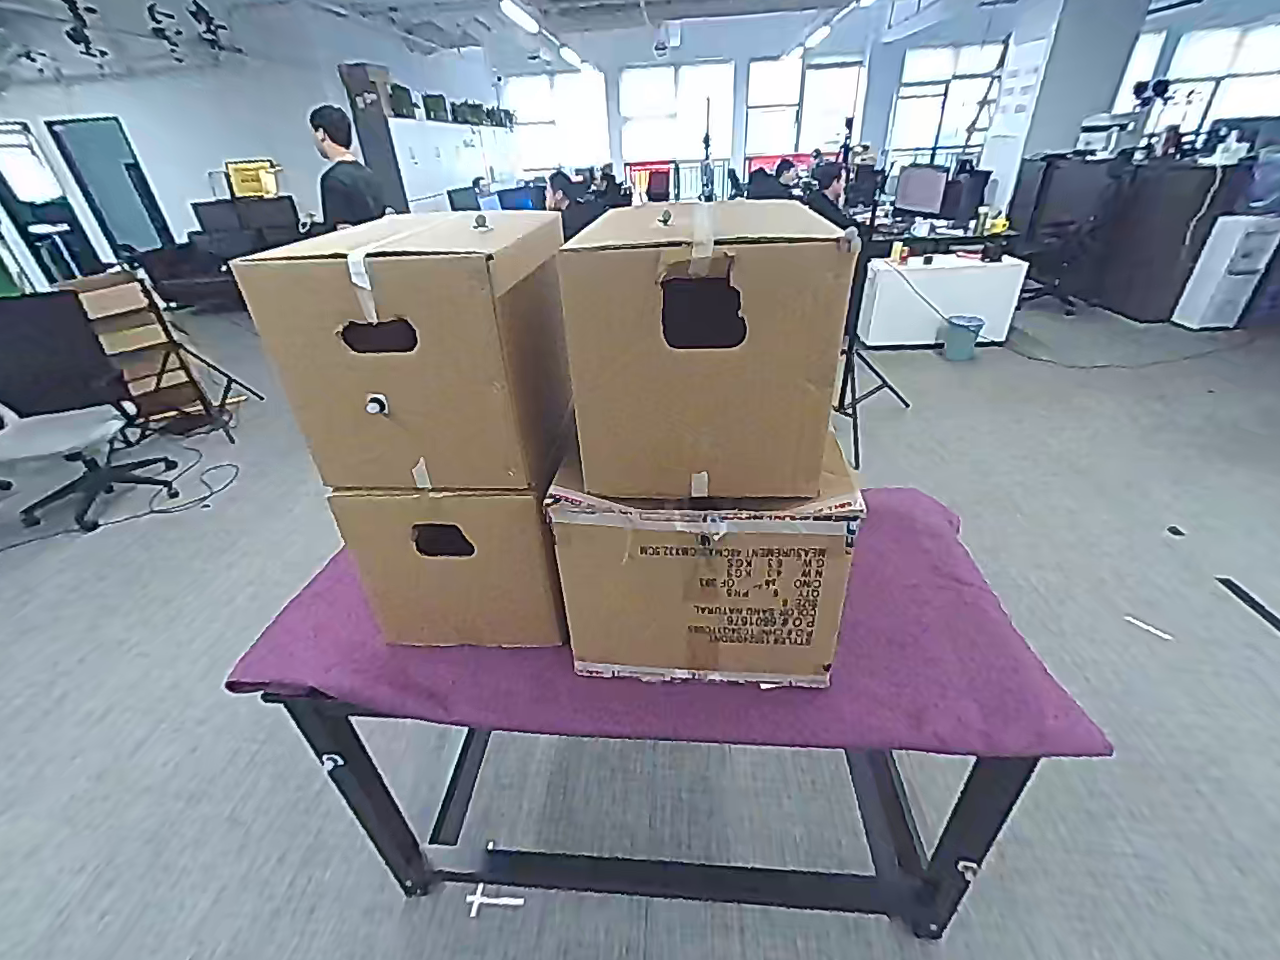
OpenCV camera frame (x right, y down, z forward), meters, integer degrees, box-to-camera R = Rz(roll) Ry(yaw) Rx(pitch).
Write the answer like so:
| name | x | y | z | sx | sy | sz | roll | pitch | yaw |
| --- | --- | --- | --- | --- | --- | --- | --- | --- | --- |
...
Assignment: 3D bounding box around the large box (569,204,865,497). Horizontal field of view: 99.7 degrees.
| name | x | y | z | sx | sy | sz | roll | pitch | yaw |
| --- | --- | --- | --- | --- | --- | --- | --- | --- | --- |
| large box | 0.095 | -0.212 | 0.800 | 0.320 | 0.320 | 0.408 | -1 | 32 | 6 |
